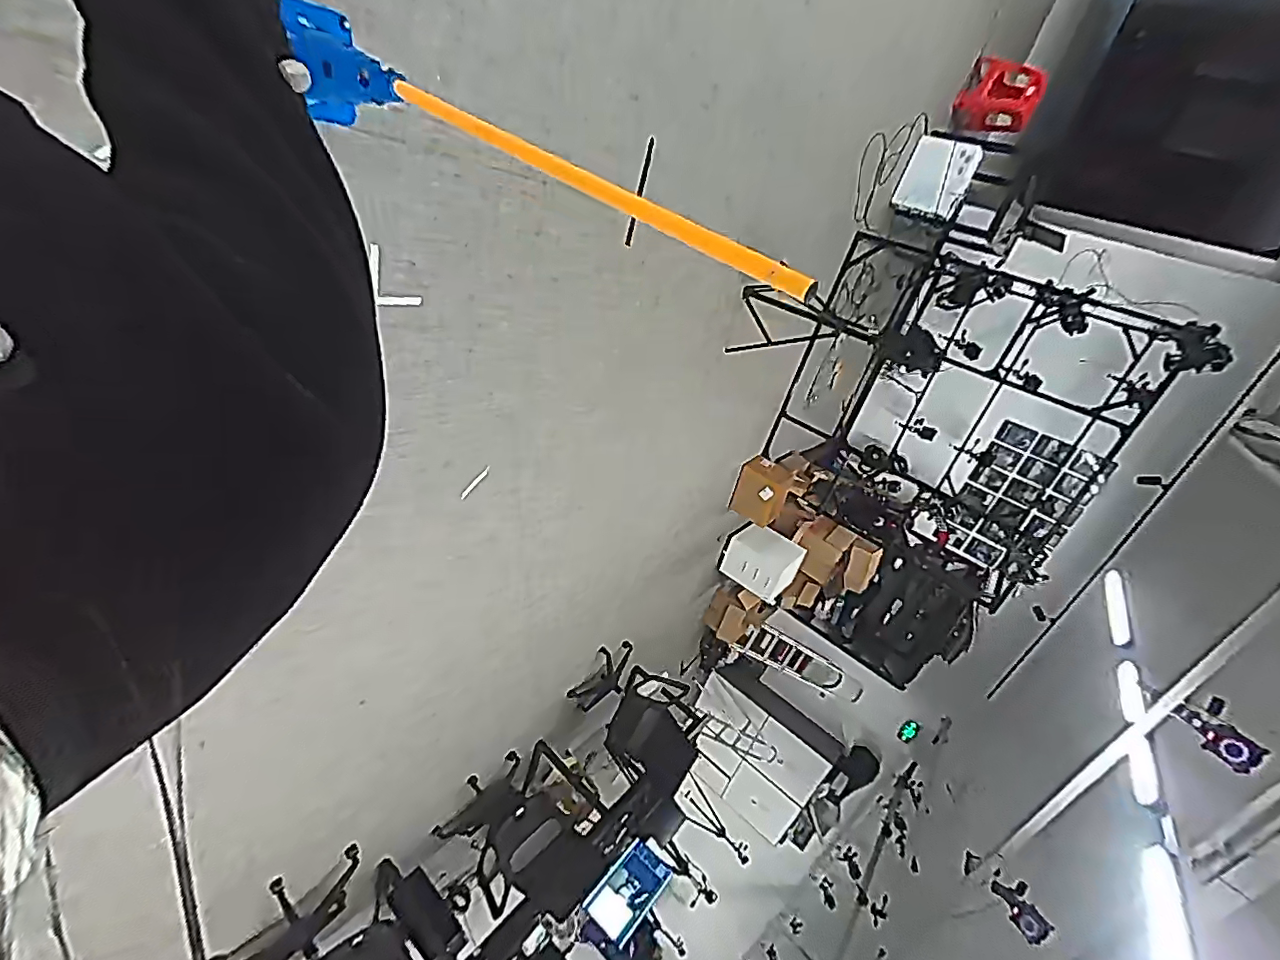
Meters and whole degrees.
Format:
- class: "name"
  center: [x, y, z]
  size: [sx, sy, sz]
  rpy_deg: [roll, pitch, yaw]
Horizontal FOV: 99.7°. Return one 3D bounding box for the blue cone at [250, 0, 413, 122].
- class: "blue cone"
  center: [-0.551, -0.775, 1.026]
  size: [0.193, 0.380, 0.192]
  rpy_deg: [-24, 137, -48]
